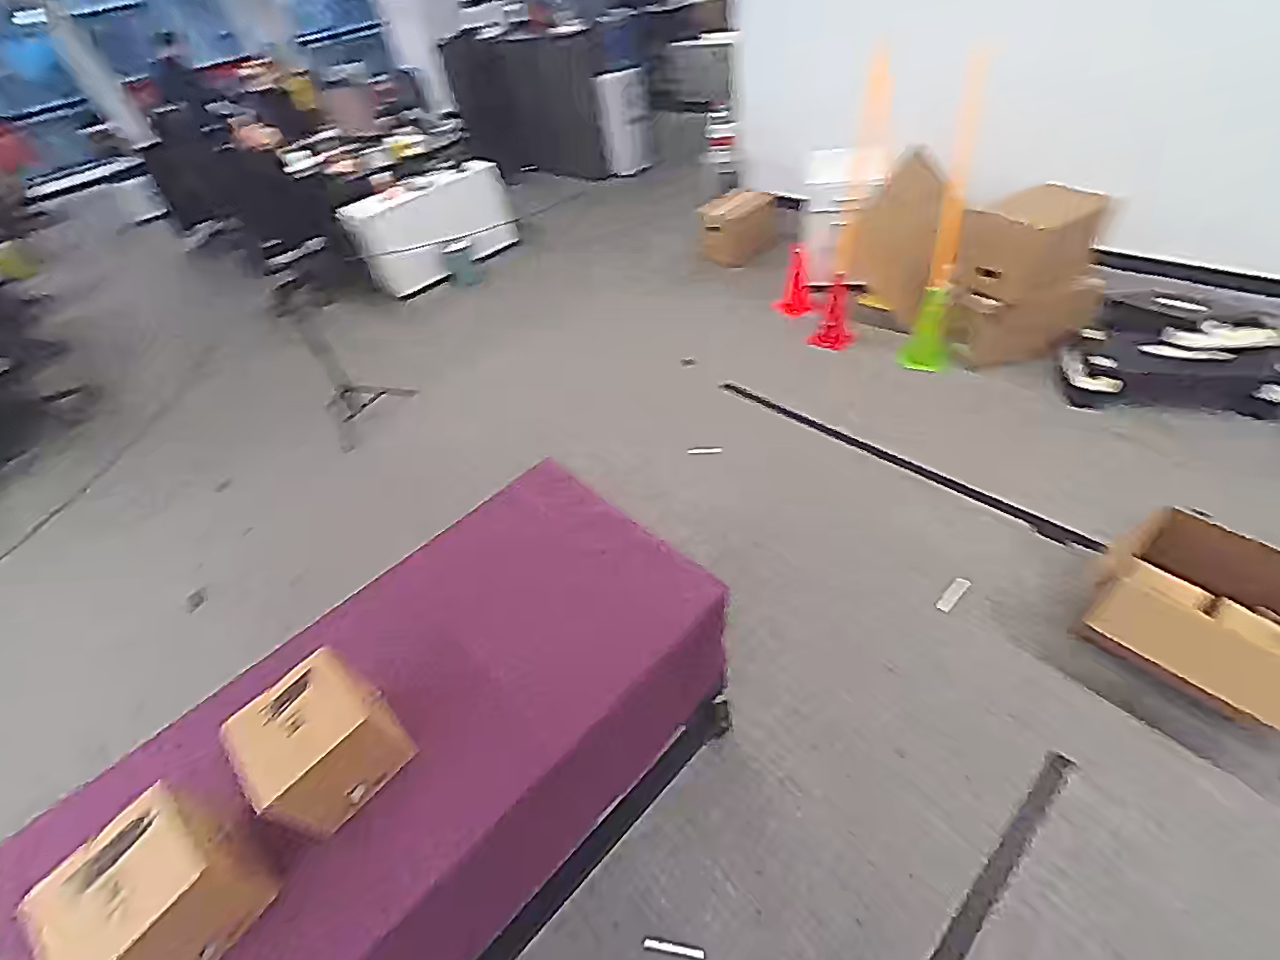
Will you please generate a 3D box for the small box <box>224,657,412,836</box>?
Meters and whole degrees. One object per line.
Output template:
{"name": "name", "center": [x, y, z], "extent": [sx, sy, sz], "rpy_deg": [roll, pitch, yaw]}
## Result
{"name": "small box", "center": [-0.507, 0.429, 0.868], "extent": [0.179, 0.176, 0.168], "rpy_deg": [29, 59, 33]}
